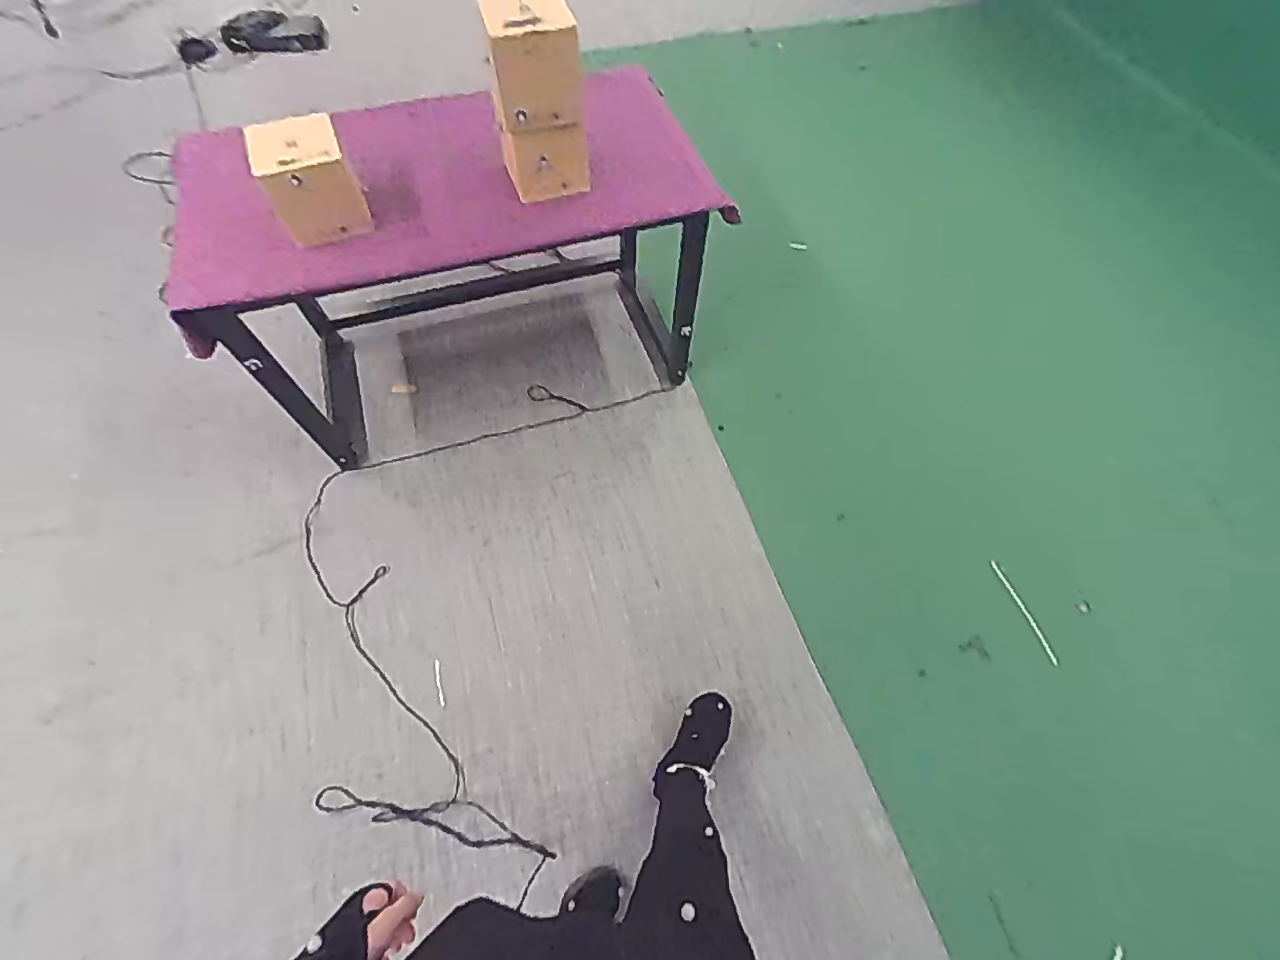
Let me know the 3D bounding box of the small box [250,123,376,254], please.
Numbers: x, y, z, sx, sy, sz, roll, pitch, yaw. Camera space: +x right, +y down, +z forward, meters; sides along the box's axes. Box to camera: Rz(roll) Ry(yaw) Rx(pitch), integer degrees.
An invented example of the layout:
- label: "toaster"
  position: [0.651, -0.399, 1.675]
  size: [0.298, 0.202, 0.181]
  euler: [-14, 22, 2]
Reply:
- label: "small box"
  position: [-0.695, -0.621, 1.159]
  size: [0.168, 0.176, 0.179]
  euler: [-21, 64, -12]

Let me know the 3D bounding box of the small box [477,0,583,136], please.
- label: "small box"
  position: [-0.218, -0.826, 1.097]
  size: [0.168, 0.176, 0.179]
  euler: [-15, 61, -9]

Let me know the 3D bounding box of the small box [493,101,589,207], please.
- label: "small box"
  position: [-0.223, -0.754, 1.245]
  size: [0.168, 0.176, 0.179]
  euler: [-18, 62, -10]
